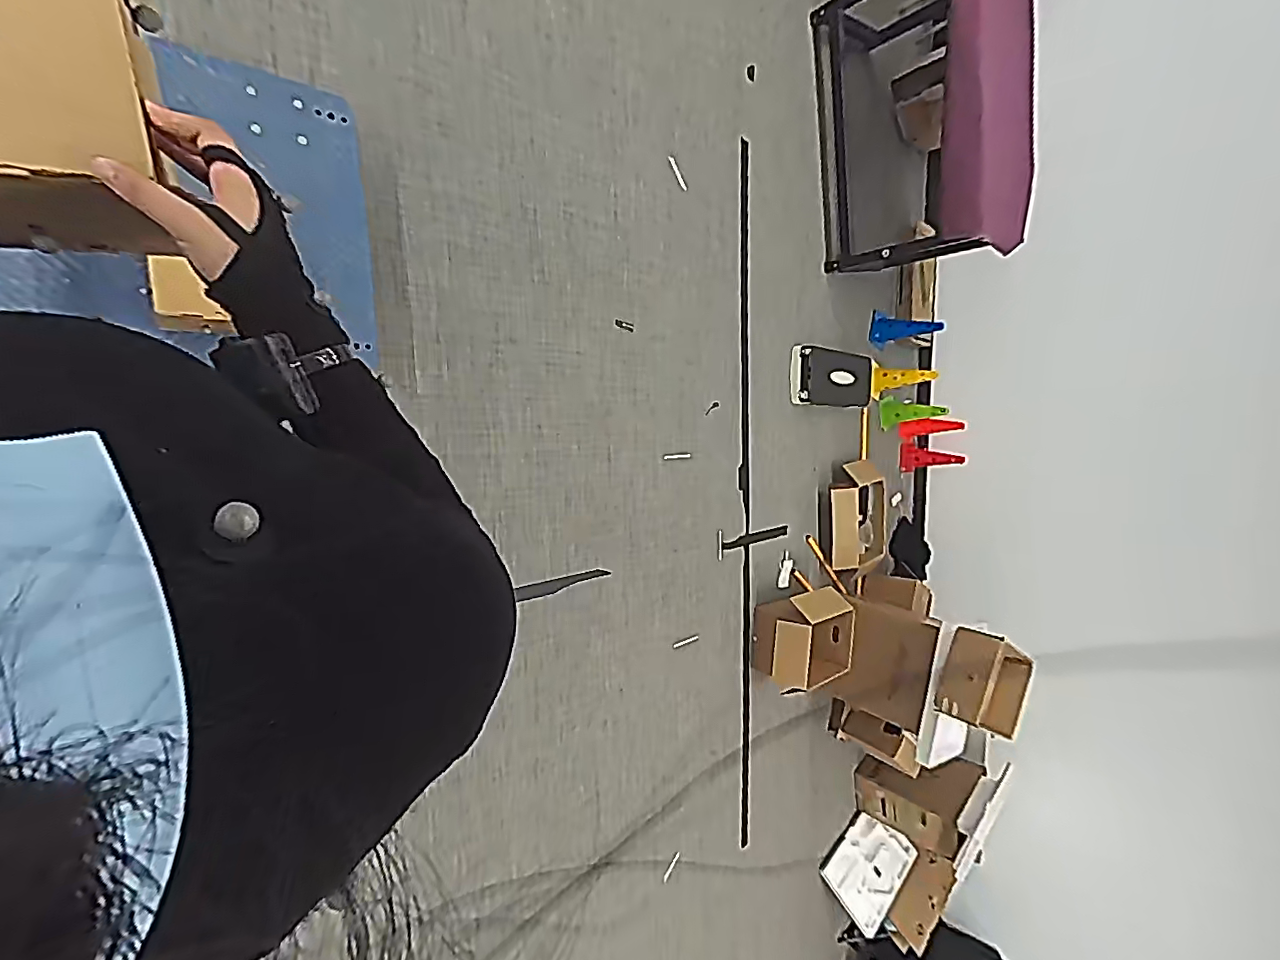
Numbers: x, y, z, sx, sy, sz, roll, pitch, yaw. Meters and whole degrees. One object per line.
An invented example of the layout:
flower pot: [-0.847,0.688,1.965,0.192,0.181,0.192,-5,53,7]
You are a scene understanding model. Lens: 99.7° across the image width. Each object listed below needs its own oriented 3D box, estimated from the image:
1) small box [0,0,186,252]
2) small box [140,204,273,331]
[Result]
small box: [-0.436,-0.274,0.366,0.168,0.176,0.179,-10,100,-33]
small box: [-0.777,-0.371,0.966,0.168,0.176,0.179,-9,101,-41]
